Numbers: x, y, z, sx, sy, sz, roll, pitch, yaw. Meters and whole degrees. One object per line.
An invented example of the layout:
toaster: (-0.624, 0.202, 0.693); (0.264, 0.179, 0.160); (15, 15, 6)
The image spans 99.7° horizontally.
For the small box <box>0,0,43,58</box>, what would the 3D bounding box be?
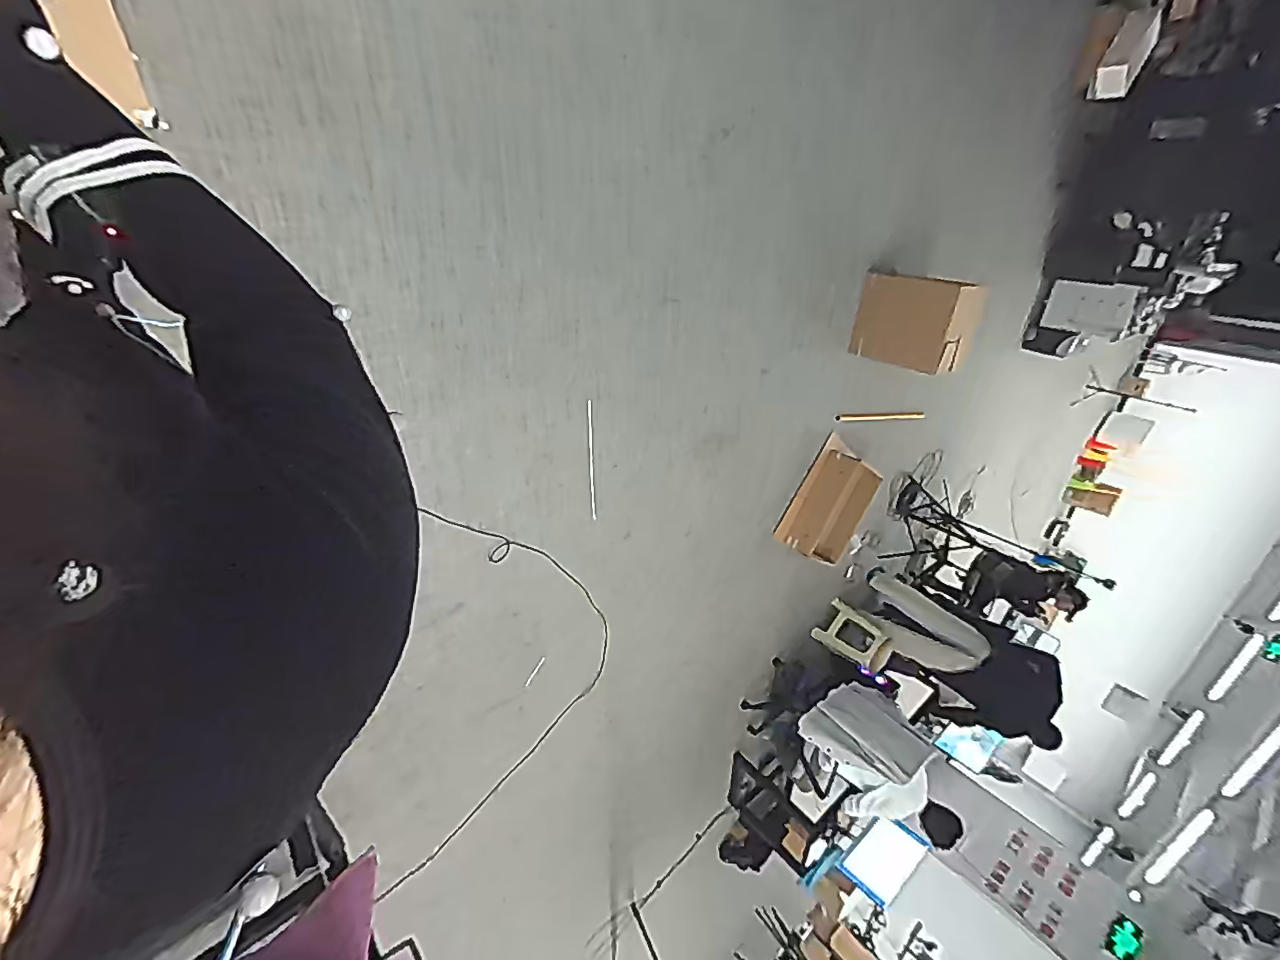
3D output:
small box: (-0.769, -0.547, 0.552); (0.179, 0.176, 0.168); (-23, 127, -31)
